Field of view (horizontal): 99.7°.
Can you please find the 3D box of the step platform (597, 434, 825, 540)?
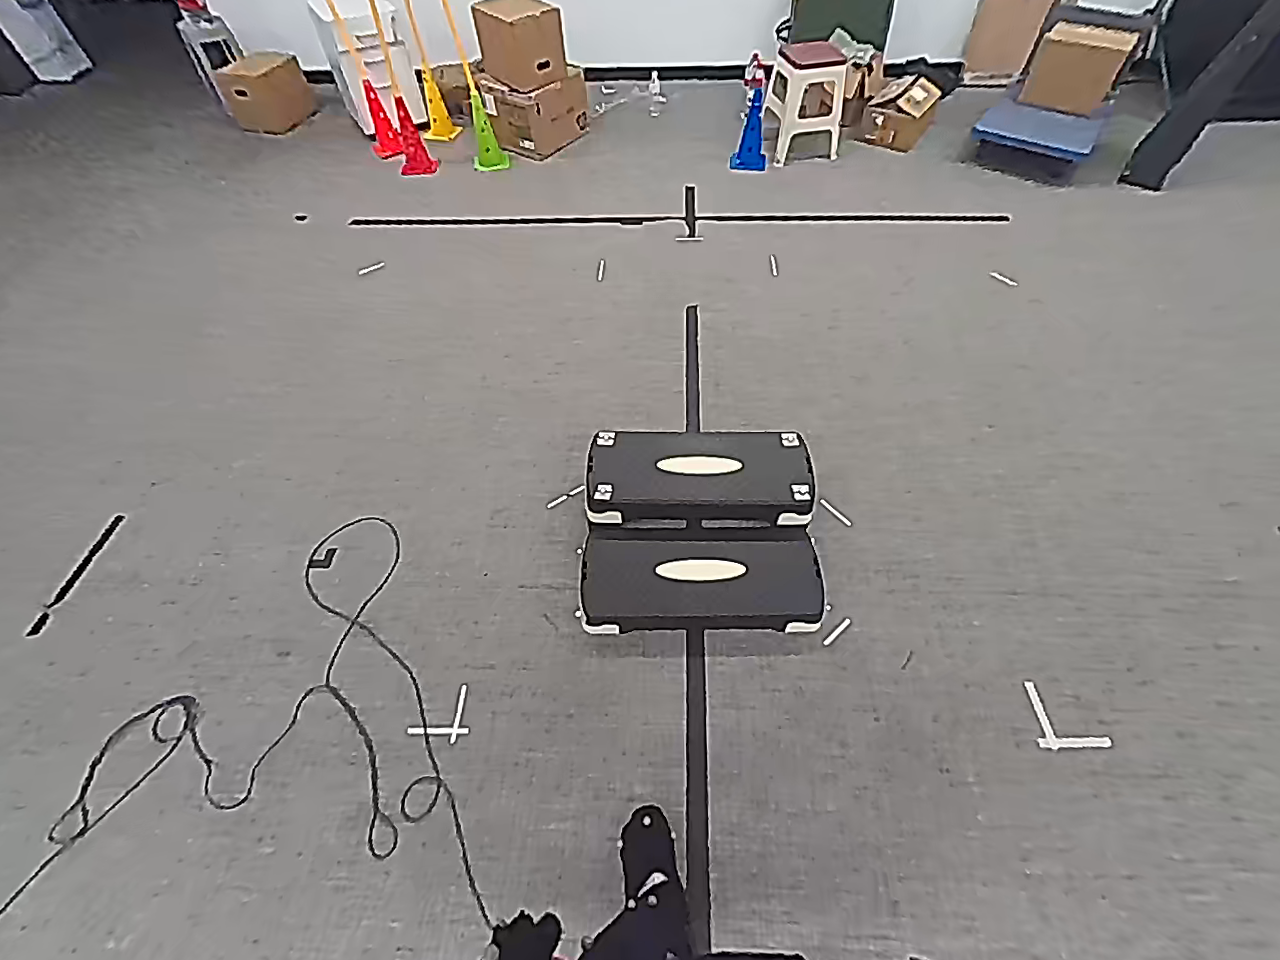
[{"bbox_3d":[0.208,0.015,1.670,0.684,0.204,0.286,0,54,0],"label":"step platform"}]
